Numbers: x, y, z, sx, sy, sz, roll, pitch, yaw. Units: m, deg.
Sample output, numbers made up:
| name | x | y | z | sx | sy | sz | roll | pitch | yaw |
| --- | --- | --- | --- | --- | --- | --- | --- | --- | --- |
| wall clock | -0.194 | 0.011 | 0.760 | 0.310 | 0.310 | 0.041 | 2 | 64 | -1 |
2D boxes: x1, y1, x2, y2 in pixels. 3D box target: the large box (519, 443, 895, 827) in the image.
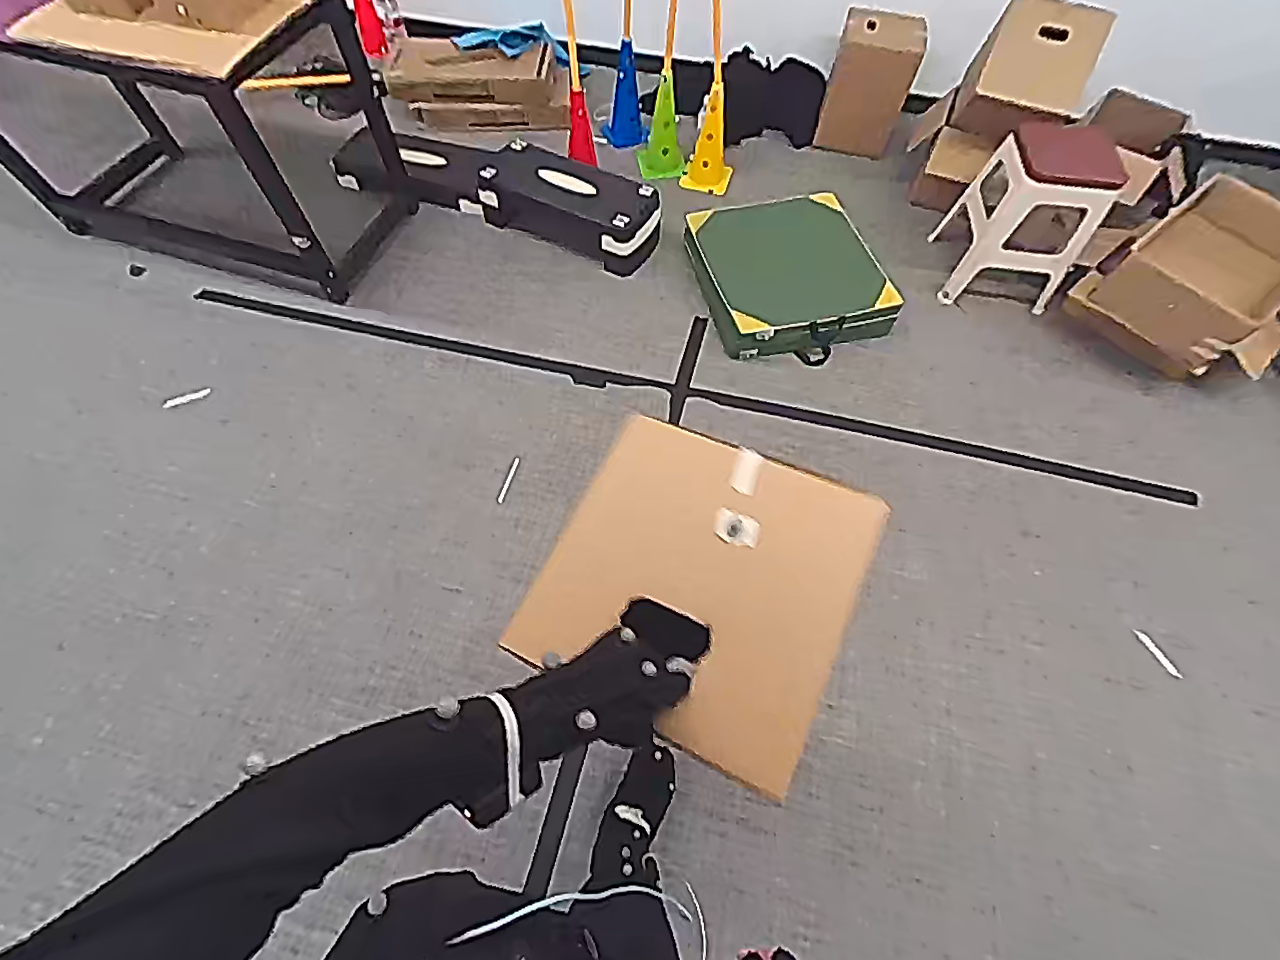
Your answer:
| name | x | y | z | sx | sy | sz | roll | pitch | yaw |
| --- | --- | --- | --- | --- | --- | --- | --- | --- | --- |
| large box | 0.105 | 0.211 | 0.740 | 0.320 | 0.408 | 0.320 | 25 | 71 | 21 |
